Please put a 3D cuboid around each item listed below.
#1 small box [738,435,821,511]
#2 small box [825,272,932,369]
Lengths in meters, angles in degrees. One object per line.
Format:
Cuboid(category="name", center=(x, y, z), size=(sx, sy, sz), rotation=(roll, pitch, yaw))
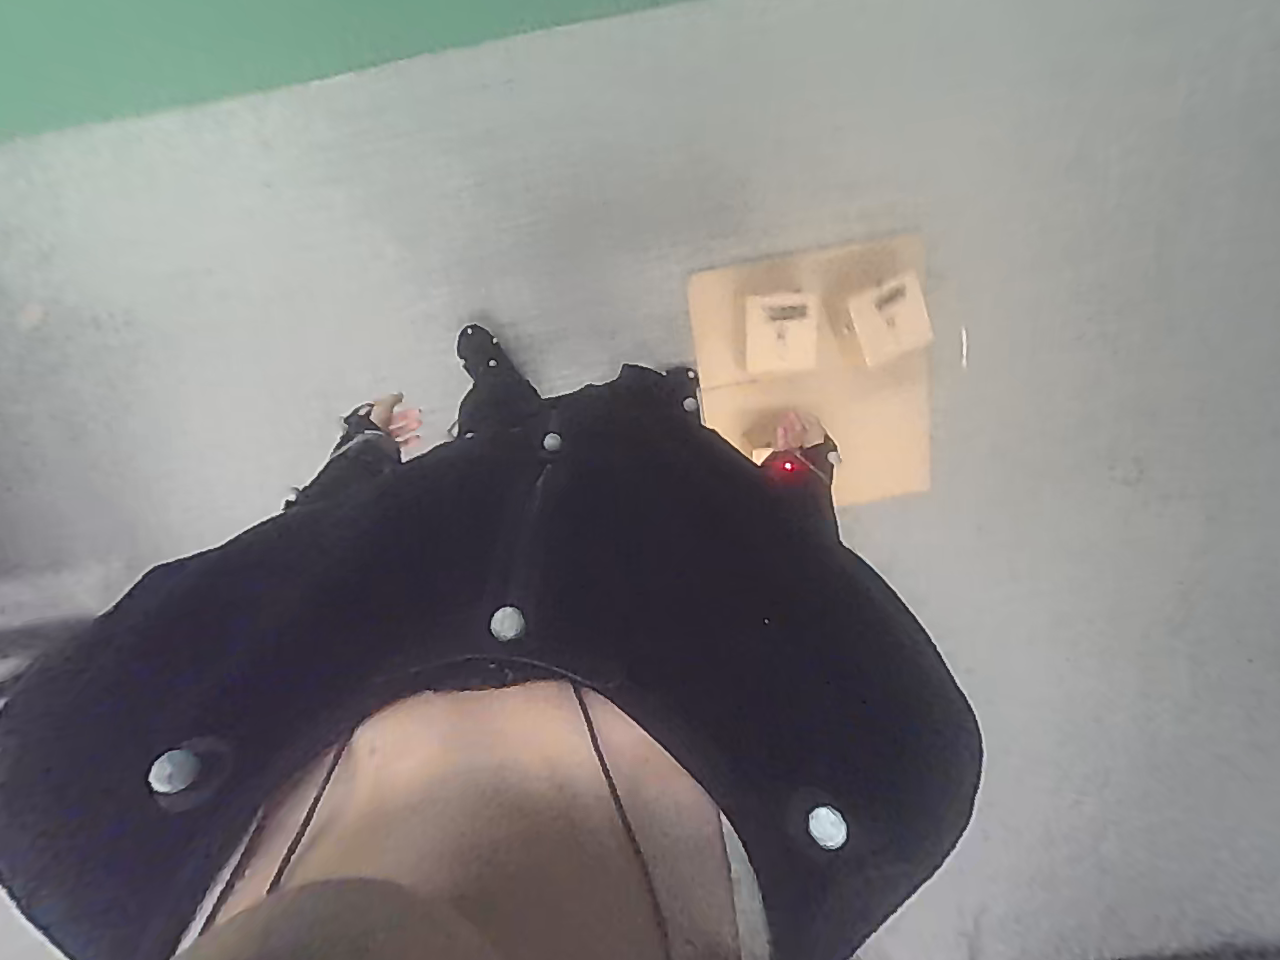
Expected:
Cuboid(category="small box", center=(0.359, -0.022, 1.427), size=(0.179, 0.176, 0.168), rotation=(-2, 107, -1))
Cuboid(category="small box", center=(0.577, -0.389, 1.327), size=(0.168, 0.176, 0.179), rotation=(-23, 107, 6))
